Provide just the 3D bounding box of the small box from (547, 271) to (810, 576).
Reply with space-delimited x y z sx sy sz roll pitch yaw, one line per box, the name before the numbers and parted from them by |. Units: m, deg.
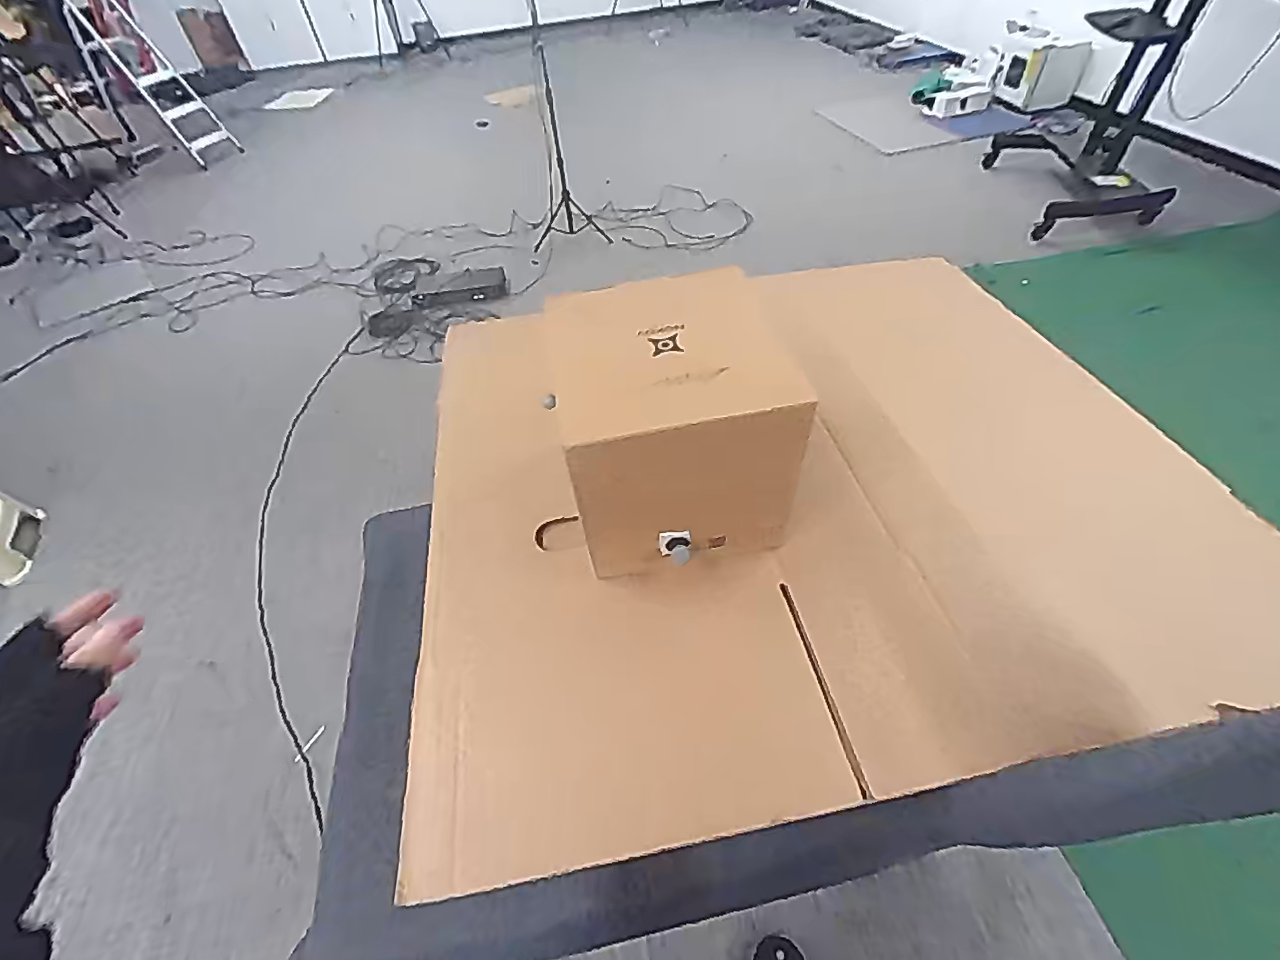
small box | 0.022 -0.046 0.457 0.168 0.176 0.179 -11 51 -3
